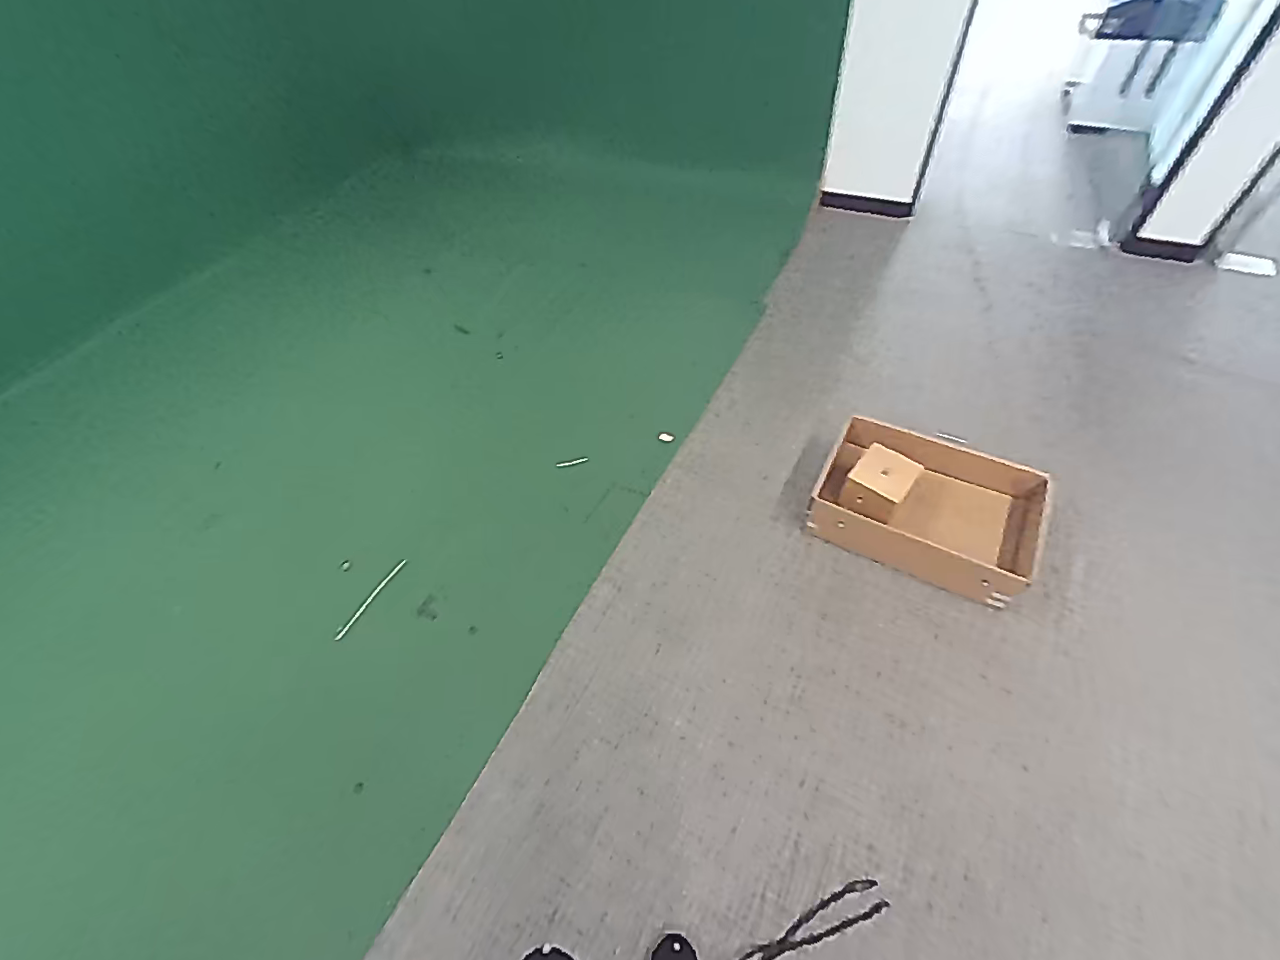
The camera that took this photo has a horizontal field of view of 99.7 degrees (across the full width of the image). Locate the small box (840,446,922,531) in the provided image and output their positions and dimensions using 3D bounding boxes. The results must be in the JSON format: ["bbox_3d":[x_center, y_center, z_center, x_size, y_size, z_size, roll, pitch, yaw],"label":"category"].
[{"bbox_3d":[0.756,0.031,1.713,0.168,0.176,0.179,33,62,26],"label":"small box"}]
